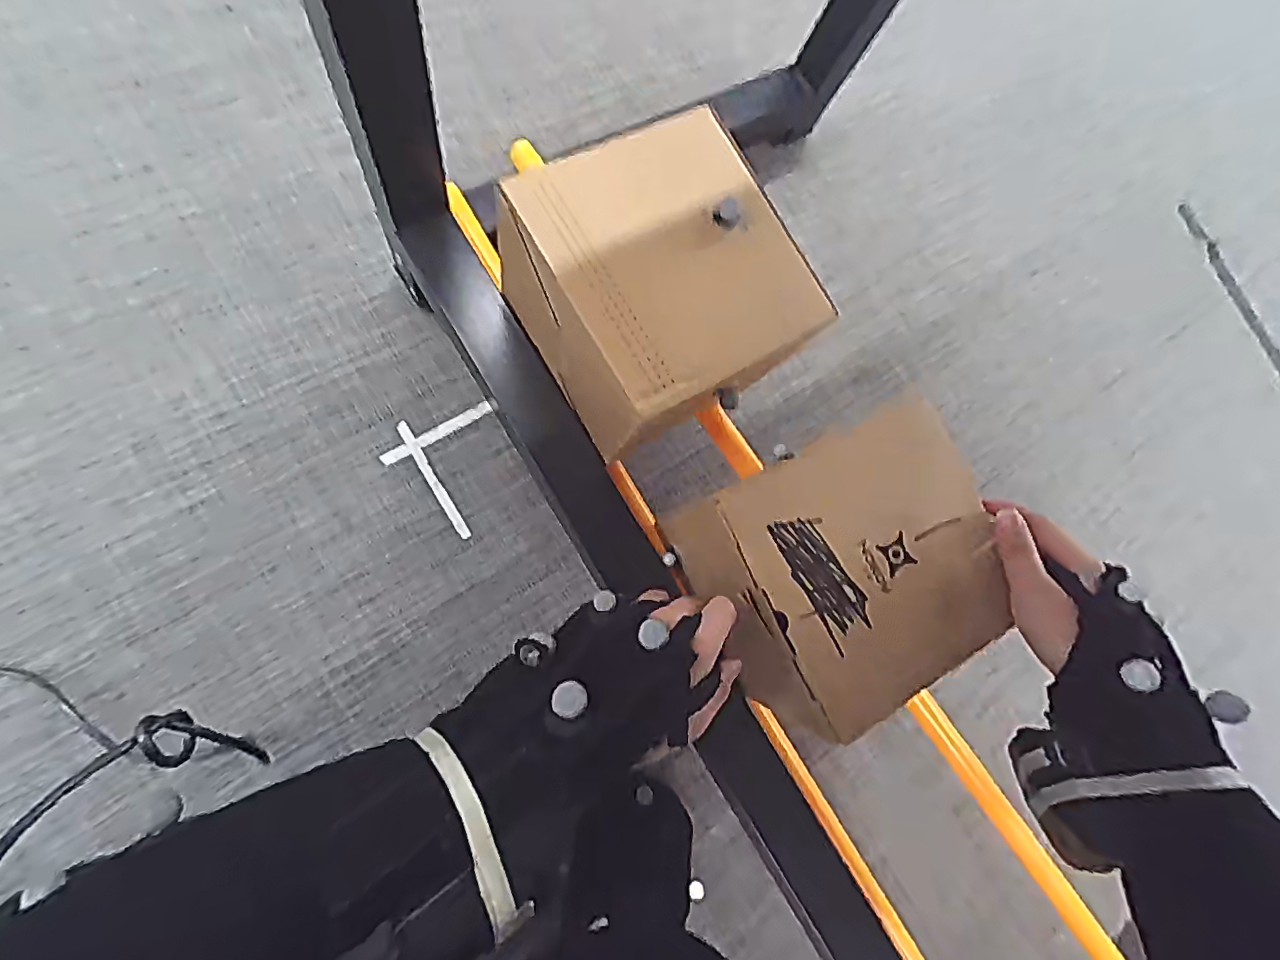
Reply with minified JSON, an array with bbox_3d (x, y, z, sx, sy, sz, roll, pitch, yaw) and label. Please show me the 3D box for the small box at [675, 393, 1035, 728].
[{"bbox_3d":[0.143,0.059,0.426,0.179,0.176,0.168,-25,86,-17],"label":"small box"}]
